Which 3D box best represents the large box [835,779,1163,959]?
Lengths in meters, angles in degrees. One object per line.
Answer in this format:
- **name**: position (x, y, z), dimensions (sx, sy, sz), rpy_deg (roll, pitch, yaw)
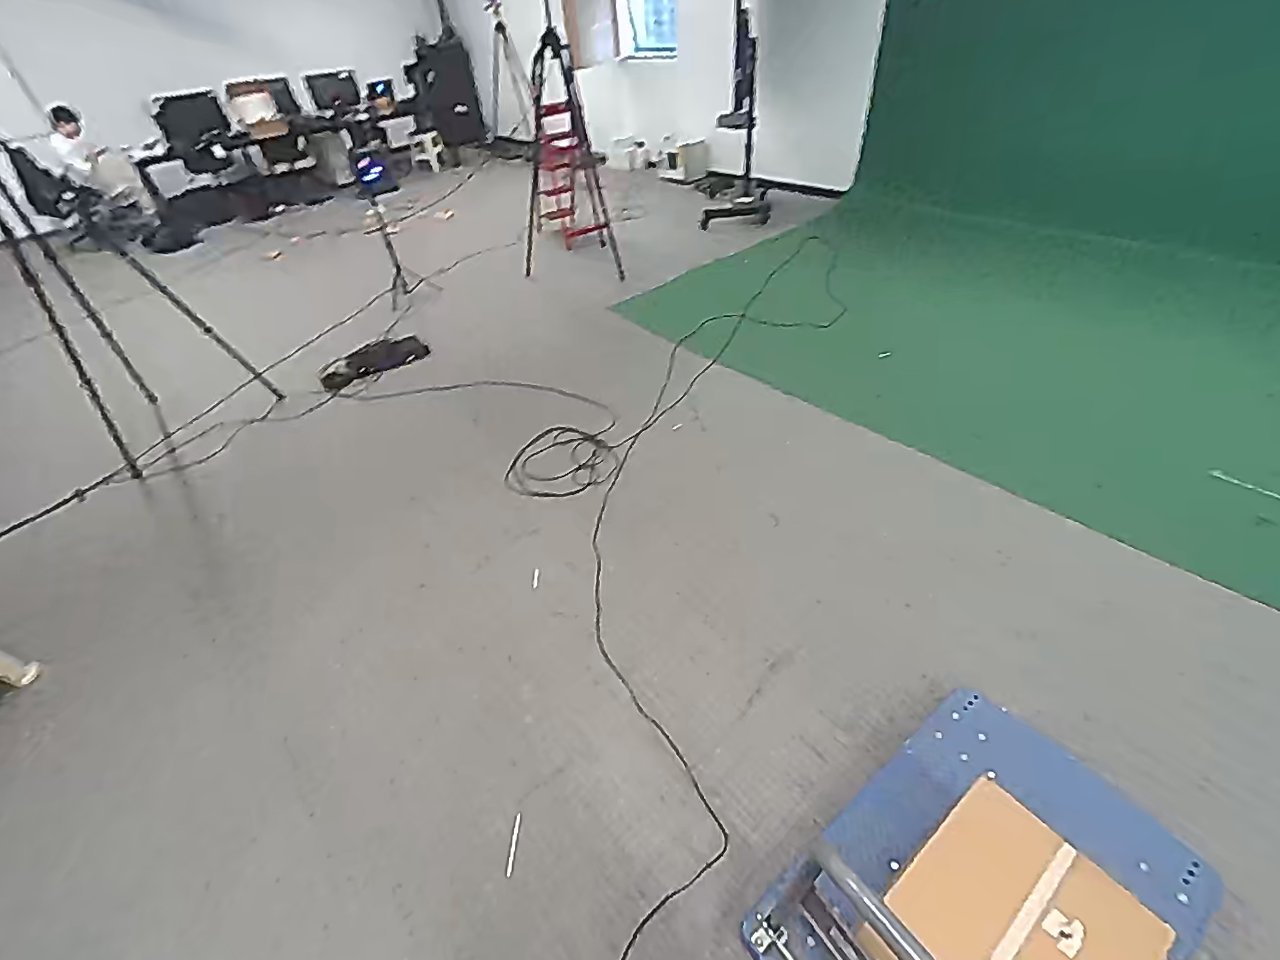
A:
- **large box**: position (0.607, 0.857, 0.974), dimensions (0.408, 0.320, 0.320), rpy_deg (-29, 47, -25)
